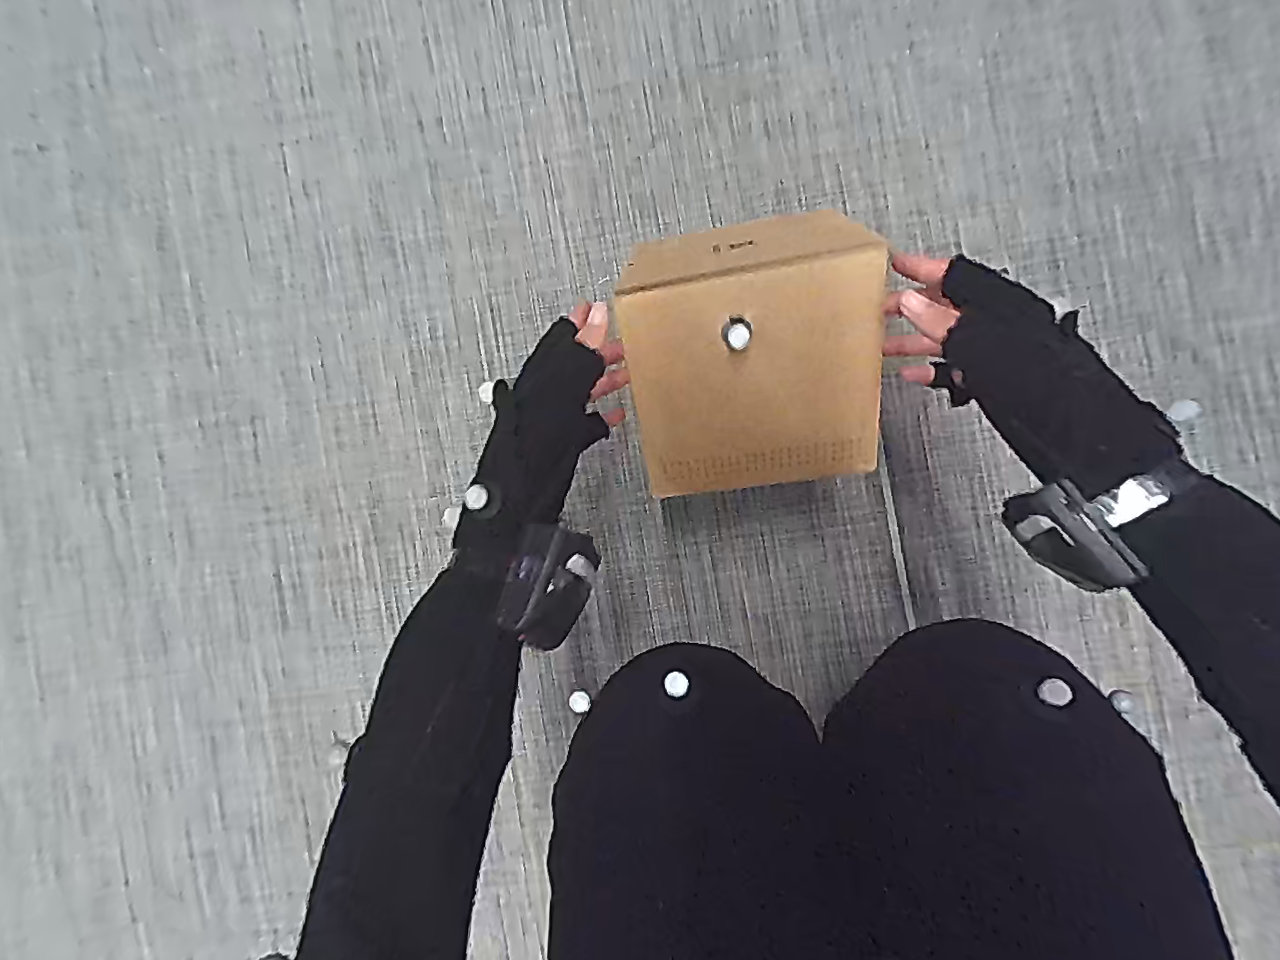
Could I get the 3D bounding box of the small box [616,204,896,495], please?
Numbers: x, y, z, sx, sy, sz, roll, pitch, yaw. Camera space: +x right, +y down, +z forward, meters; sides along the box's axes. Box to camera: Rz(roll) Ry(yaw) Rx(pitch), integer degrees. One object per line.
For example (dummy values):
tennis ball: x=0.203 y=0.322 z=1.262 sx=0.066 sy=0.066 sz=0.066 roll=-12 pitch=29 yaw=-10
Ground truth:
small box: x=0.089 y=-0.106 z=0.446 sx=0.179 sy=0.168 sz=0.176 roll=-7 pitch=125 yaw=9
